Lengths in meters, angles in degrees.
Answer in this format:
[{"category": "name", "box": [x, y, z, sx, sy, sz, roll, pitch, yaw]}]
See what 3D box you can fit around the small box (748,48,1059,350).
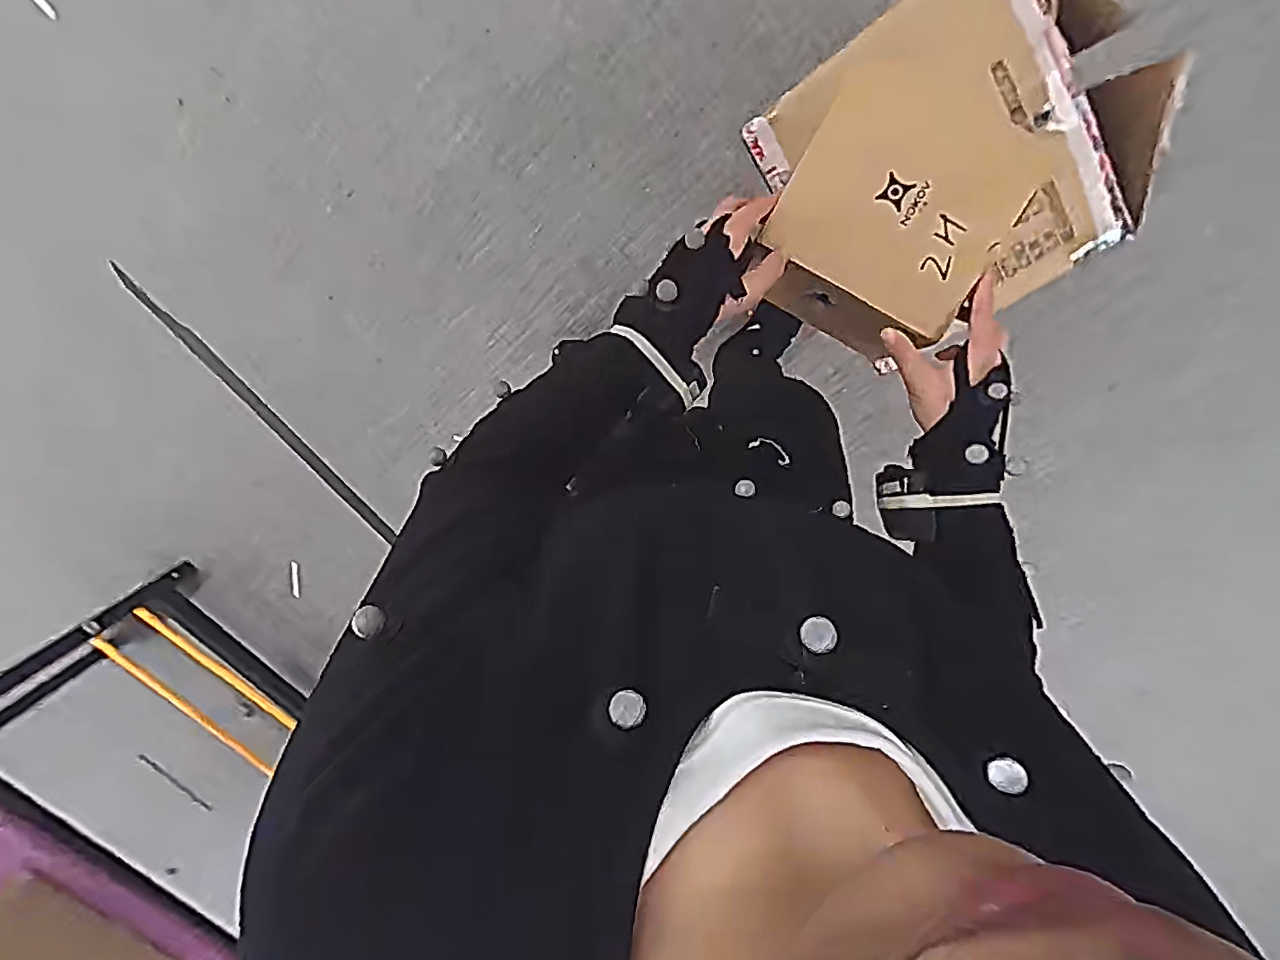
[{"category": "small box", "box": [0.216, -0.235, 0.507, 0.179, 0.176, 0.168, 30, 101, 2]}]
